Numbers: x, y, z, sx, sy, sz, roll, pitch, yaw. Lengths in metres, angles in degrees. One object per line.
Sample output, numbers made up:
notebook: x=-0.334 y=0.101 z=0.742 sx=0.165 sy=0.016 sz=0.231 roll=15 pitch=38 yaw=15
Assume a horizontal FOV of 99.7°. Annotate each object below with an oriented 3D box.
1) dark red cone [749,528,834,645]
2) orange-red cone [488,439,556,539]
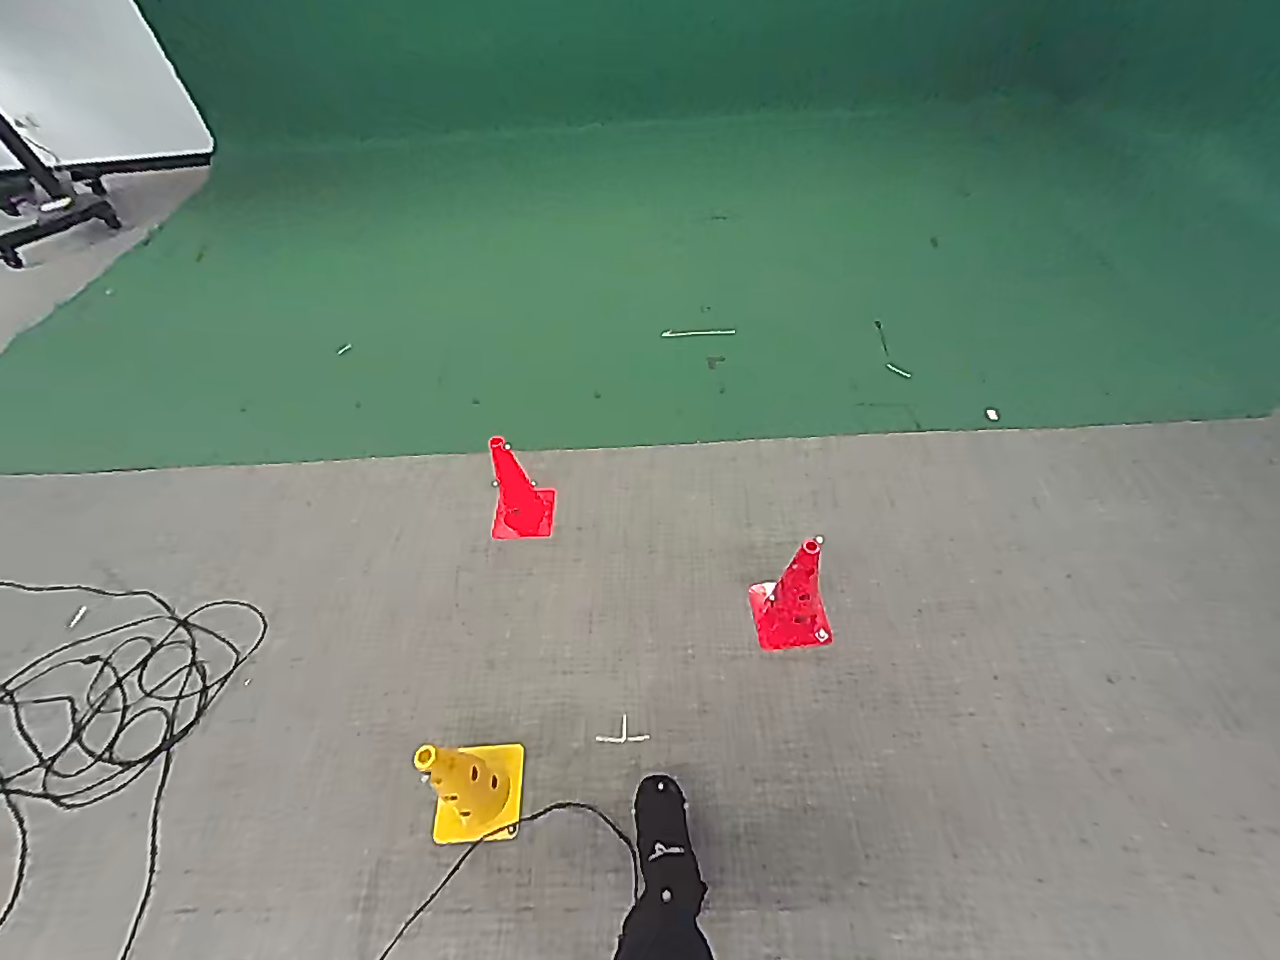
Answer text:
dark red cone: x=0.405 y=0.249 z=1.377 sx=0.202 sy=0.394 sz=0.201 roll=-7 pitch=49 yaw=0
orange-red cone: x=-0.399 y=0.006 z=1.681 sx=0.198 sy=0.360 sz=0.199 roll=-3 pitch=52 yaw=4
